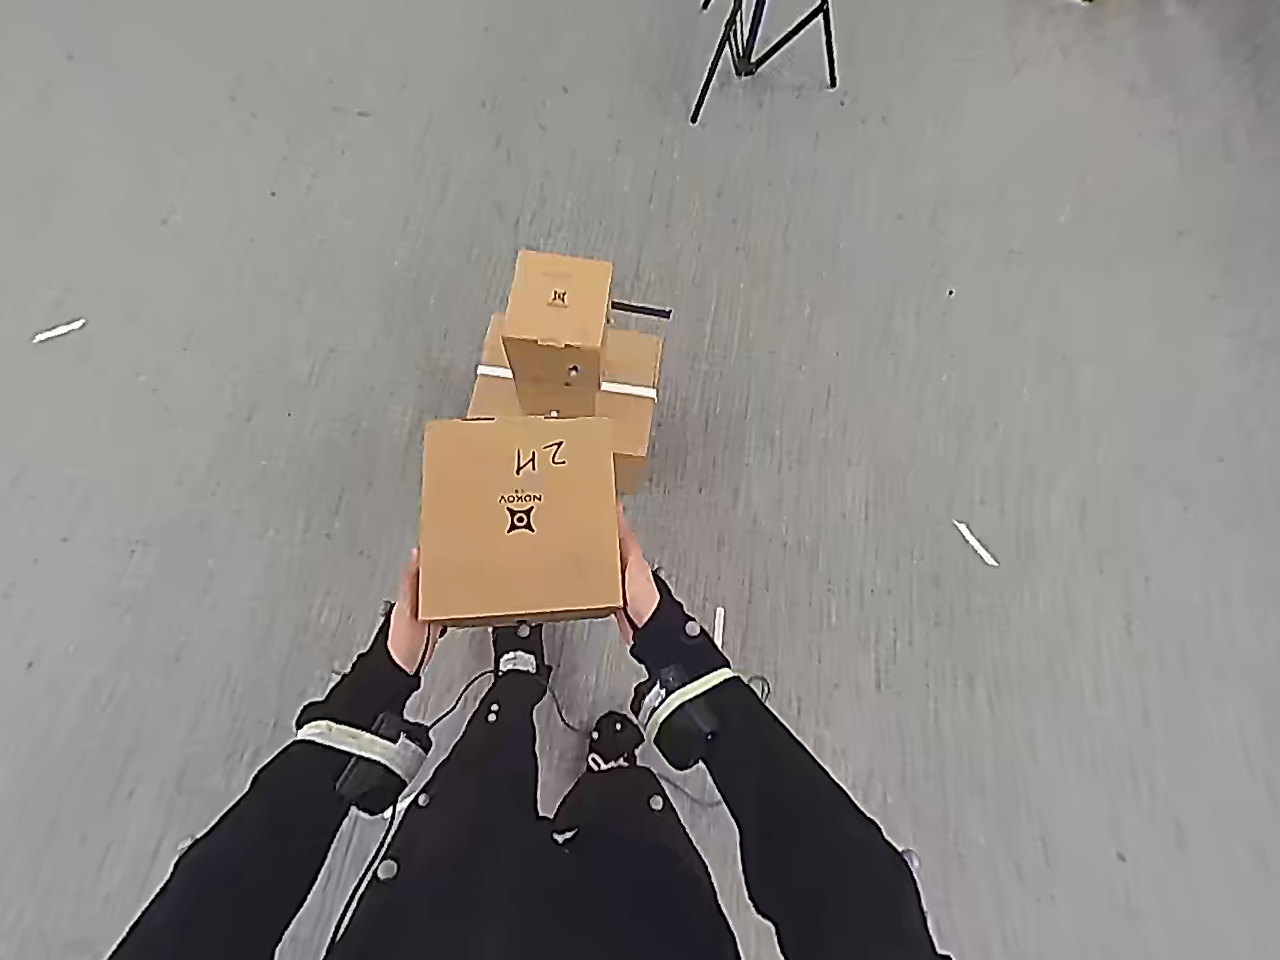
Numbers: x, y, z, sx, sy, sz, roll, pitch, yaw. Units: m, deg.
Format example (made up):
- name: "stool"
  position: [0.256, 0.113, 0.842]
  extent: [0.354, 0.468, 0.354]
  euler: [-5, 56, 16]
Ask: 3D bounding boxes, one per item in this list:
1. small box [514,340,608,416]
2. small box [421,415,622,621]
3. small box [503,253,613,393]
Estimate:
- name: "small box"
  position: [-0.160, -0.236, 1.143]
  extent: [0.168, 0.176, 0.179]
  euler: [7, 73, -2]
- name: "small box"
  position: [-0.111, 0.047, 0.541]
  extent: [0.168, 0.176, 0.179]
  euler: [-2, 73, -9]
- name: "small box"
  position: [-0.142, -0.277, 0.987]
  extent: [0.168, 0.176, 0.179]
  euler: [7, 72, -4]
